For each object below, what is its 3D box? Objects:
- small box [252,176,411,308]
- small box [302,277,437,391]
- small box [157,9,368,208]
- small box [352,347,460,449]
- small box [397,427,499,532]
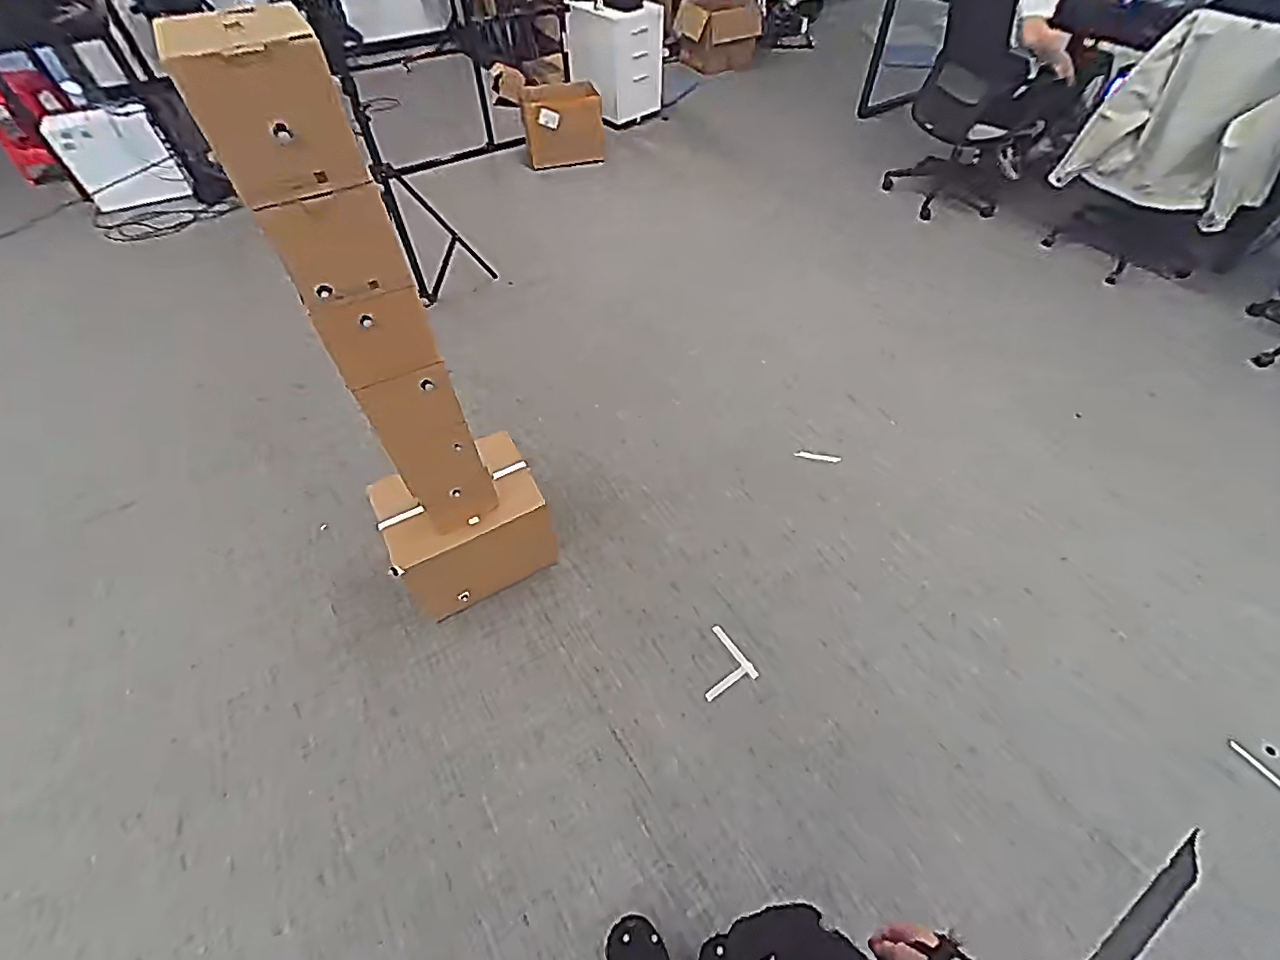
[{"bbox_3d":[-0.488,-0.395,0.859,0.168,0.176,0.179,-25,56,-17],"label":"small box"},{"bbox_3d":[-0.489,-0.294,0.989,0.179,0.176,0.168,-25,57,-17],"label":"small box"},{"bbox_3d":[-0.493,-0.490,0.725,0.168,0.176,0.179,-26,58,-18],"label":"small box"},{"bbox_3d":[-0.487,-0.196,1.117,0.179,0.176,0.168,-25,56,-17],"label":"small box"},{"bbox_3d":[-0.482,0.003,1.378,0.179,0.176,0.168,-27,58,-20],"label":"small box"}]
